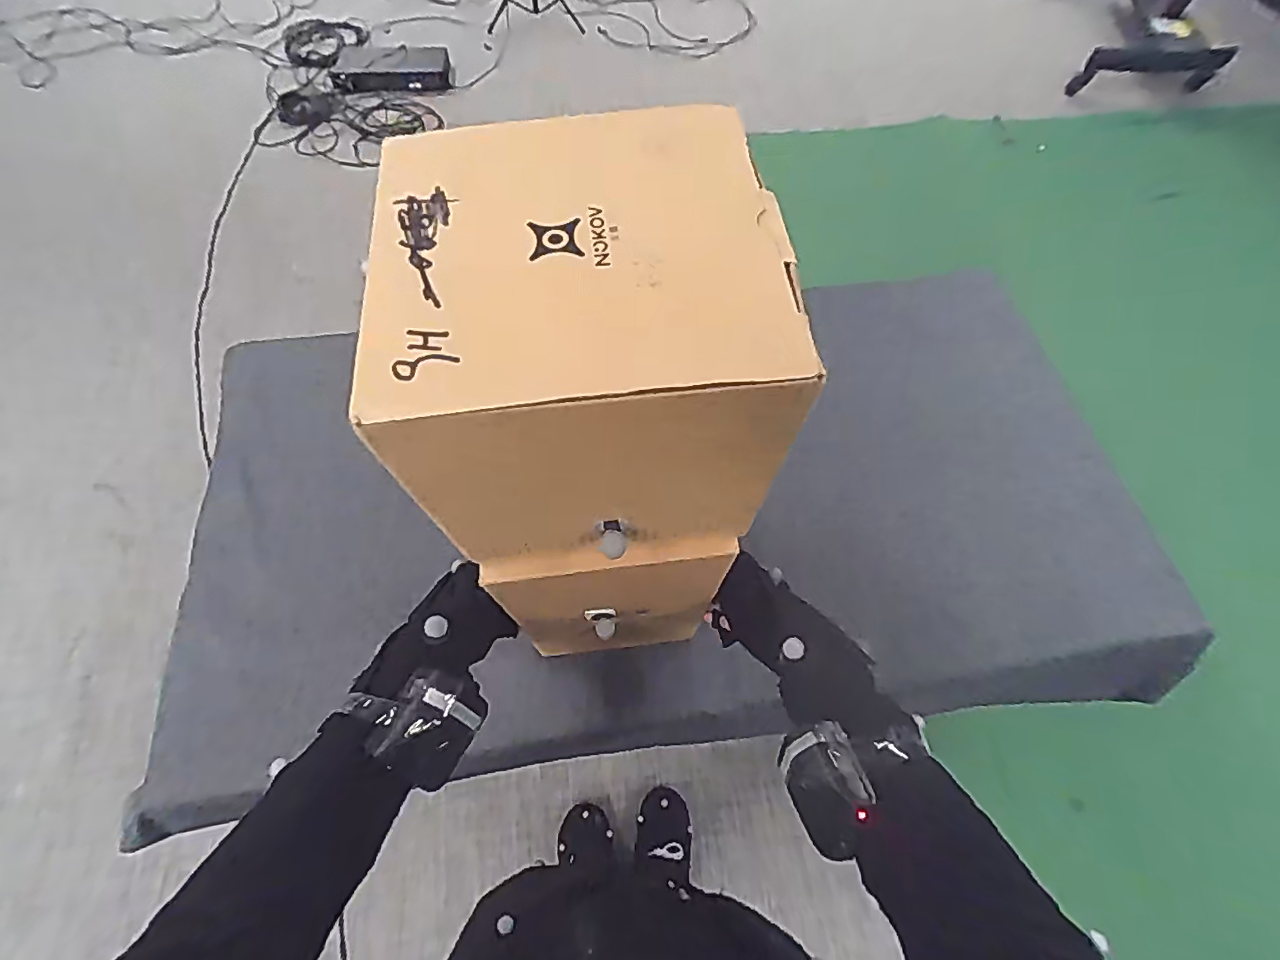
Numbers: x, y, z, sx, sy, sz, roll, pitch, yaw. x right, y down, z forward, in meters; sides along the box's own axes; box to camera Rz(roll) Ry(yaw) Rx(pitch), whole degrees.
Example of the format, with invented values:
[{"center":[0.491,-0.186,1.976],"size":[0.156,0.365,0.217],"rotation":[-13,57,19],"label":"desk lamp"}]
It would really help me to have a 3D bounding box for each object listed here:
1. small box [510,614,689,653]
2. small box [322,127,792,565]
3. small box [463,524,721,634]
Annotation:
[{"center":[-0.039,0.087,0.593],"size":[0.179,0.176,0.168],"rotation":[-5,64,-4],"label":"small box"},{"center":[-0.037,-0.060,0.303],"size":[0.179,0.176,0.168],"rotation":[-6,64,-3],"label":"small box"},{"center":[-0.038,0.017,0.447],"size":[0.168,0.176,0.179],"rotation":[-6,64,-3],"label":"small box"}]
